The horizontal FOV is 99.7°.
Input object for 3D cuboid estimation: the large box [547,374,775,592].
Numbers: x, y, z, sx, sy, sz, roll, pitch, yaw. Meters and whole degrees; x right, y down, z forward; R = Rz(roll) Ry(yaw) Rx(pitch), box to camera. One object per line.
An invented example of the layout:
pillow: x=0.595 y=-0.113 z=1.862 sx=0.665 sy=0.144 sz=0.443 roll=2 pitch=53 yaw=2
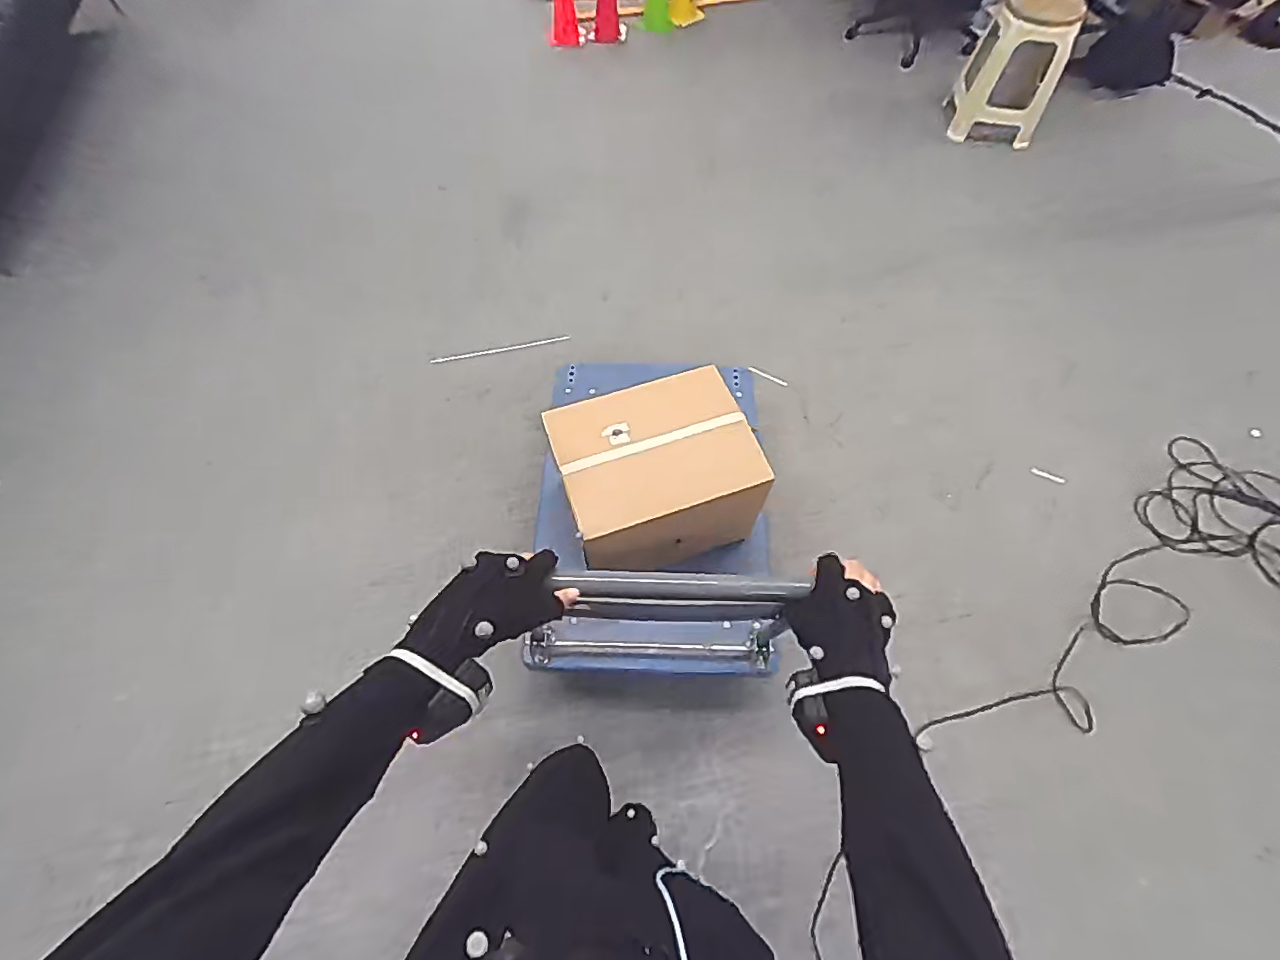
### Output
large box: x=0.038 y=0.016 z=1.250 sx=0.408 sy=0.320 sz=0.320 roll=-18 pitch=62 yaw=-9
